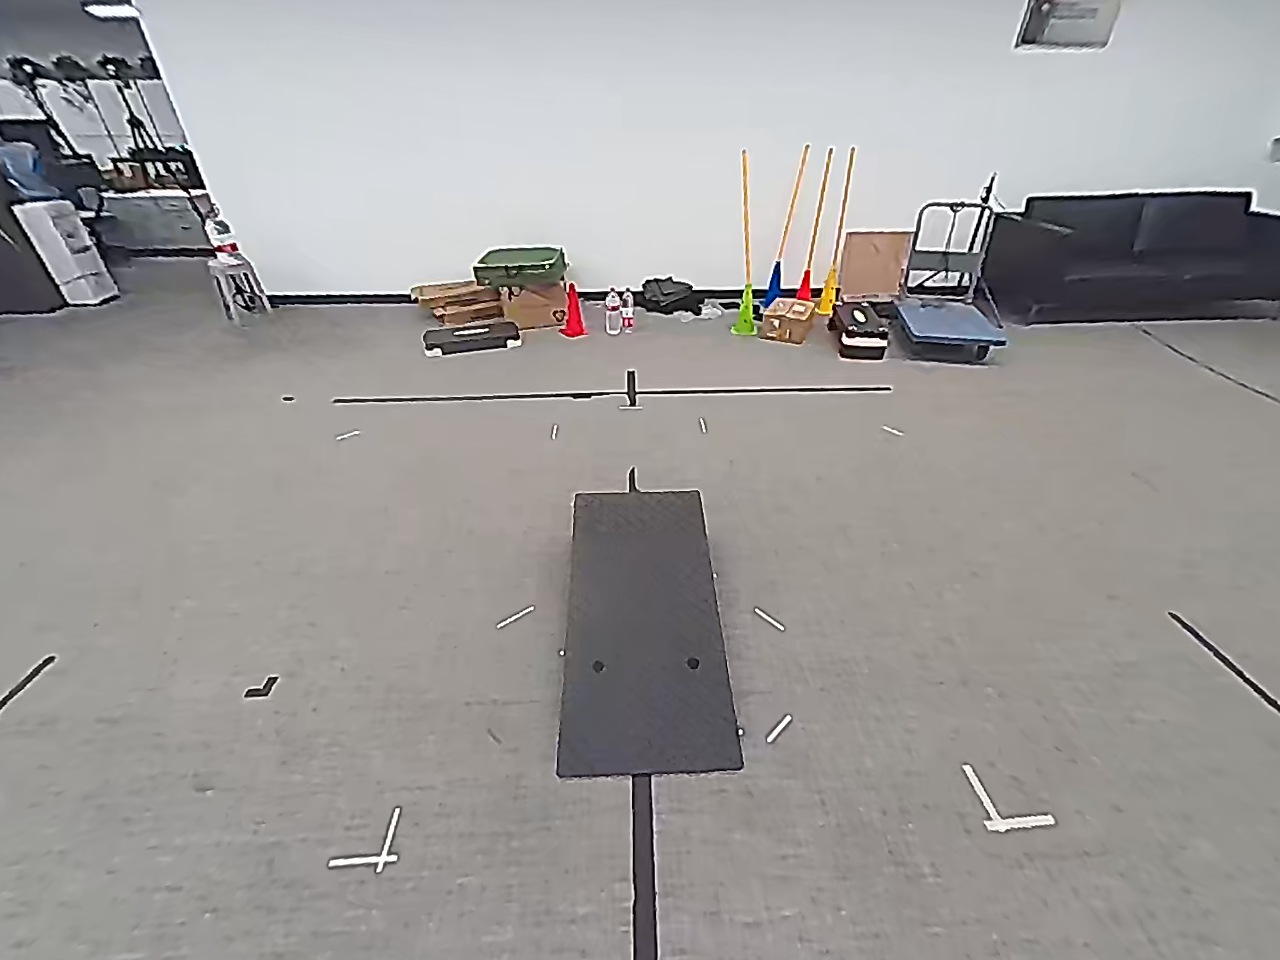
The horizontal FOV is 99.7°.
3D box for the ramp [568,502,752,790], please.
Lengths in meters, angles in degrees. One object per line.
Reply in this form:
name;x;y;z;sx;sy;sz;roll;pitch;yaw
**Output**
ramp;0.031;0.444;1.756;0.509;0.206;0.991;-2;34;-4
